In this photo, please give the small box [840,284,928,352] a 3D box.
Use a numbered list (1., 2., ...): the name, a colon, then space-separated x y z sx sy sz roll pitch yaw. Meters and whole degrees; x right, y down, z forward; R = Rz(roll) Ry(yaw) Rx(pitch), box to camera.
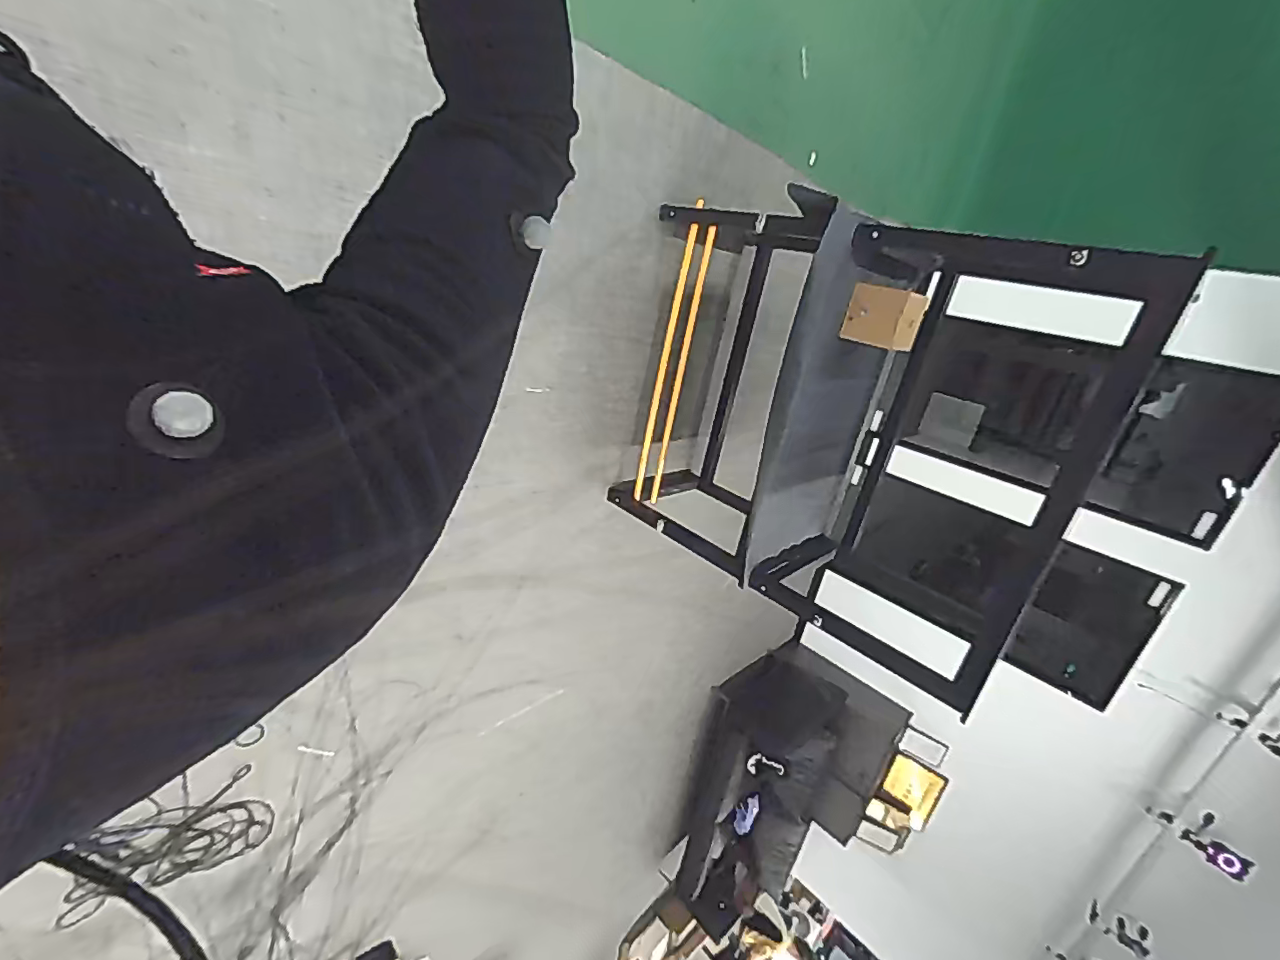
1. small box: 0.747 -0.499 1.663 0.179 0.176 0.168 -11 121 -46
